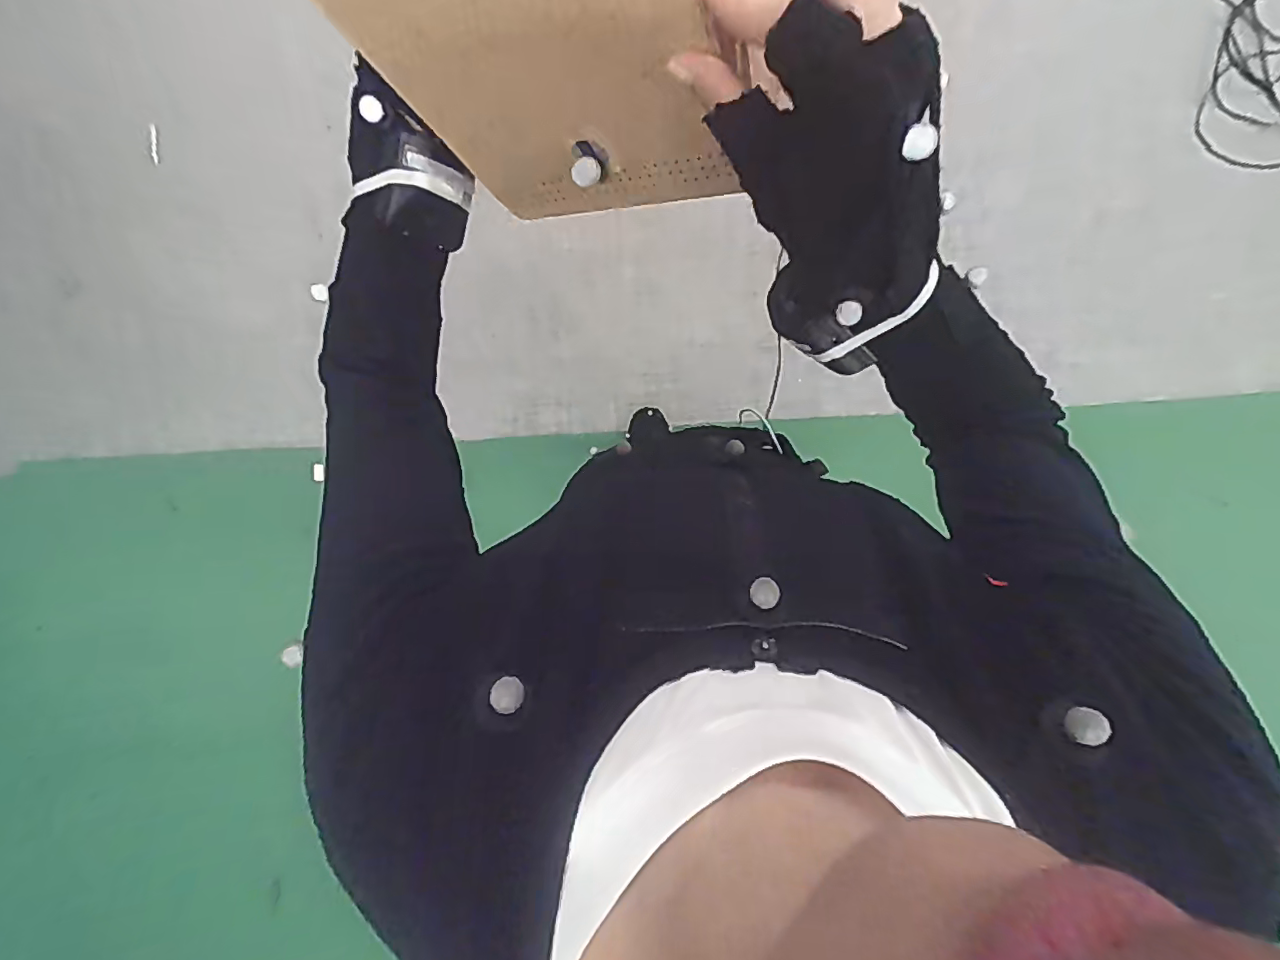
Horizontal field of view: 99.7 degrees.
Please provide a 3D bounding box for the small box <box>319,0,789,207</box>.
[{"bbox_3d":[-0.028,-0.271,0.278,0.179,0.176,0.168,9,79,30],"label":"small box"}]
